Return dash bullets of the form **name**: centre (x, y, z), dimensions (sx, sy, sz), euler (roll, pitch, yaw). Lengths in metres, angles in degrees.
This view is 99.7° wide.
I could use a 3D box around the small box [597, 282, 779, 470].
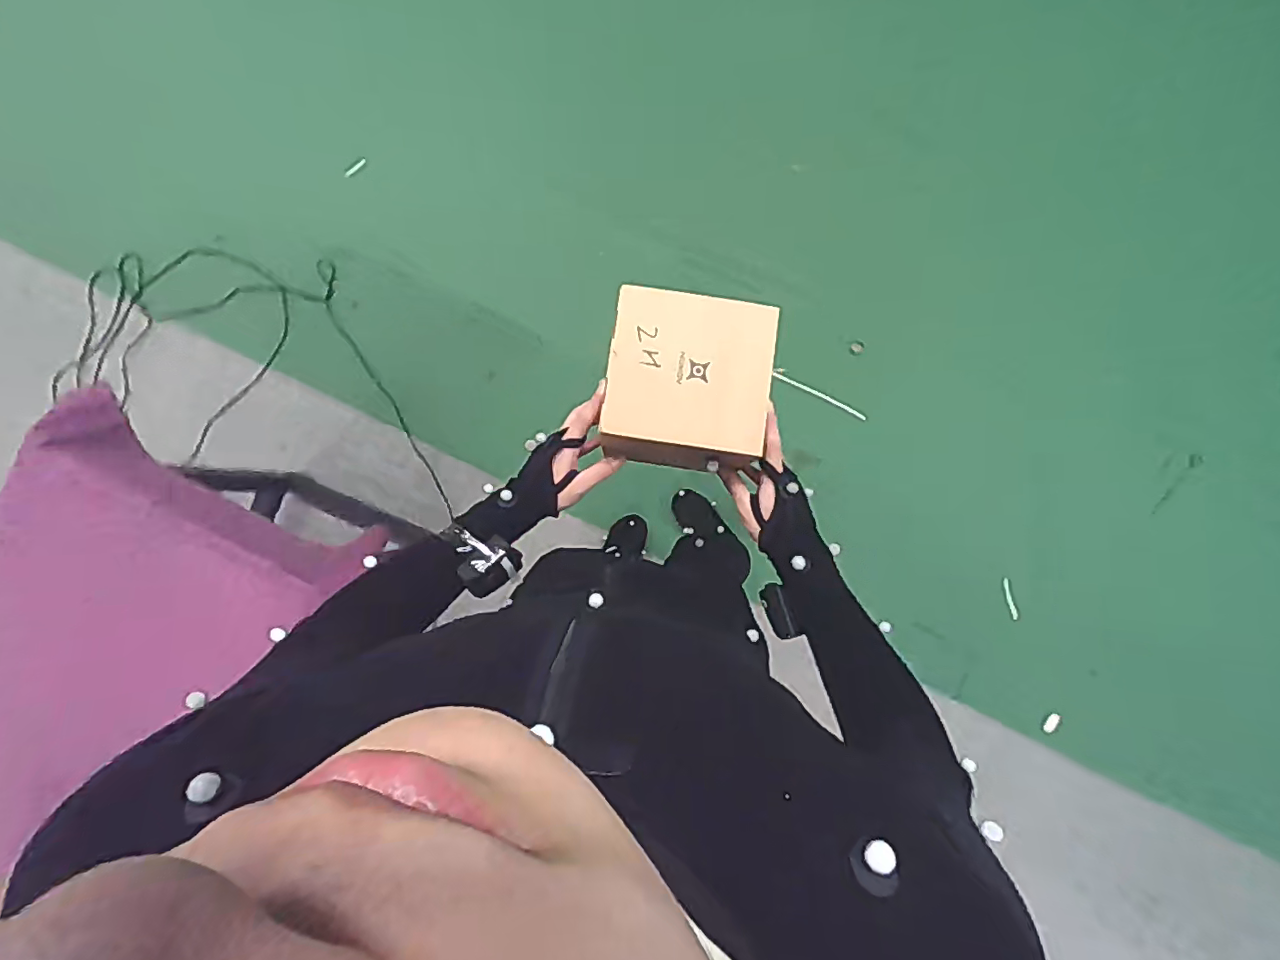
- **small box**: centre (0.049, -0.110, 0.647), dimensions (0.179, 0.176, 0.168), euler (8, 83, -1)
